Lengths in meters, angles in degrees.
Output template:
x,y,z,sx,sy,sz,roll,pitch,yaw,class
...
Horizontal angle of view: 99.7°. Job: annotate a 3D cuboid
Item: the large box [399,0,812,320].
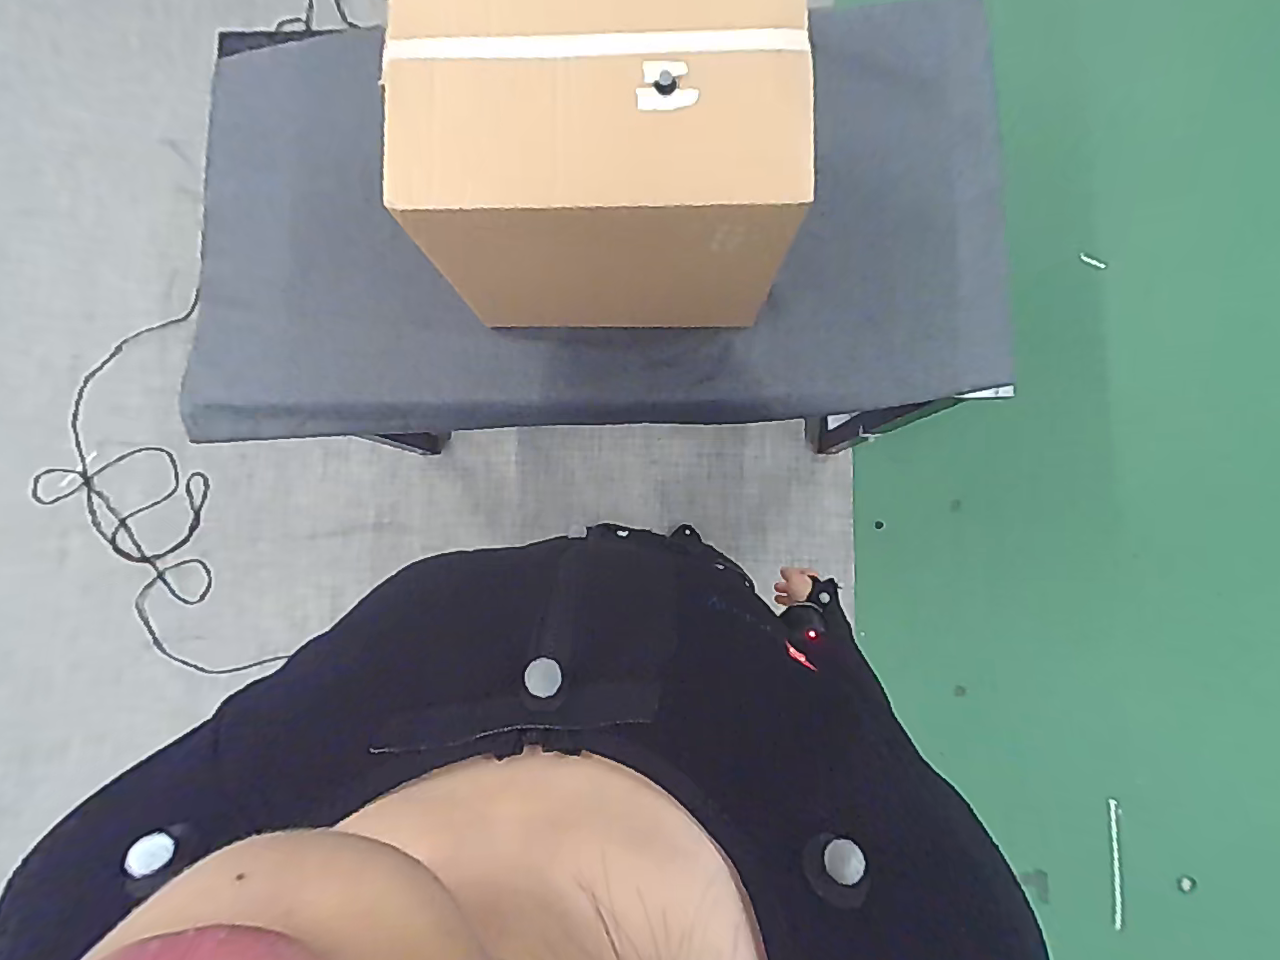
x,y,z,sx,sy,sz,roll,pitch,yaw,class
-0.035,-0.407,0.675,0.408,0.320,0.320,0,86,1,large box
